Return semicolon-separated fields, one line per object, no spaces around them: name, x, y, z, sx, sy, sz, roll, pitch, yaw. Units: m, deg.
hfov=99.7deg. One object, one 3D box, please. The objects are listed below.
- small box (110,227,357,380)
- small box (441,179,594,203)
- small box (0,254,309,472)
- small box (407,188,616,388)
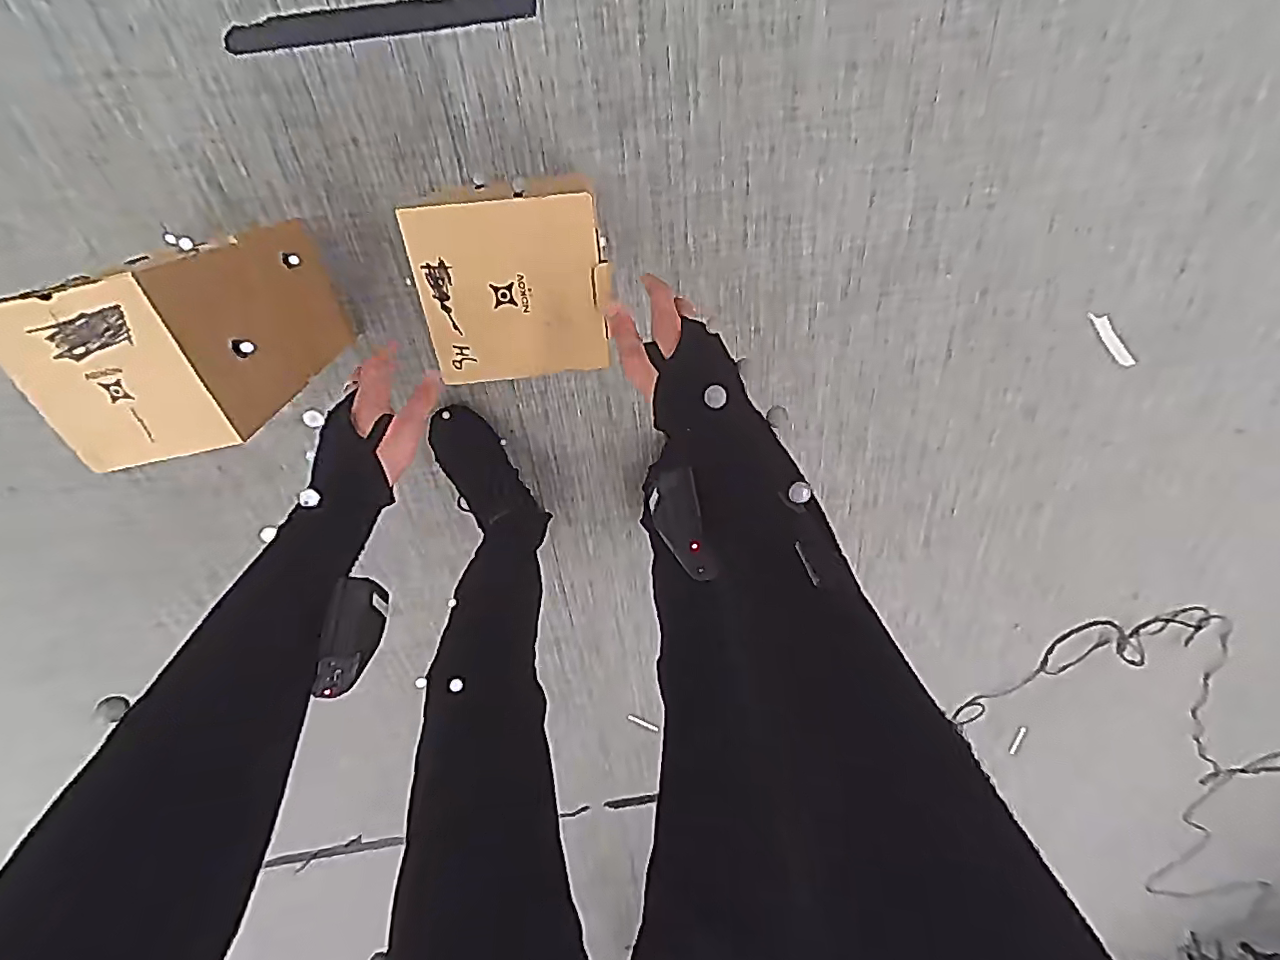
small box;-0.518;-0.228;0.724;0.168;0.176;0.179;-13;123;1
small box;-0.143;-0.300;0.724;0.179;0.176;0.168;-7;123;-3
small box;-0.508;-0.136;0.588;0.168;0.176;0.179;-11;123;1
small box;-0.126;-0.214;0.585;0.179;0.176;0.168;-7;122;-4
